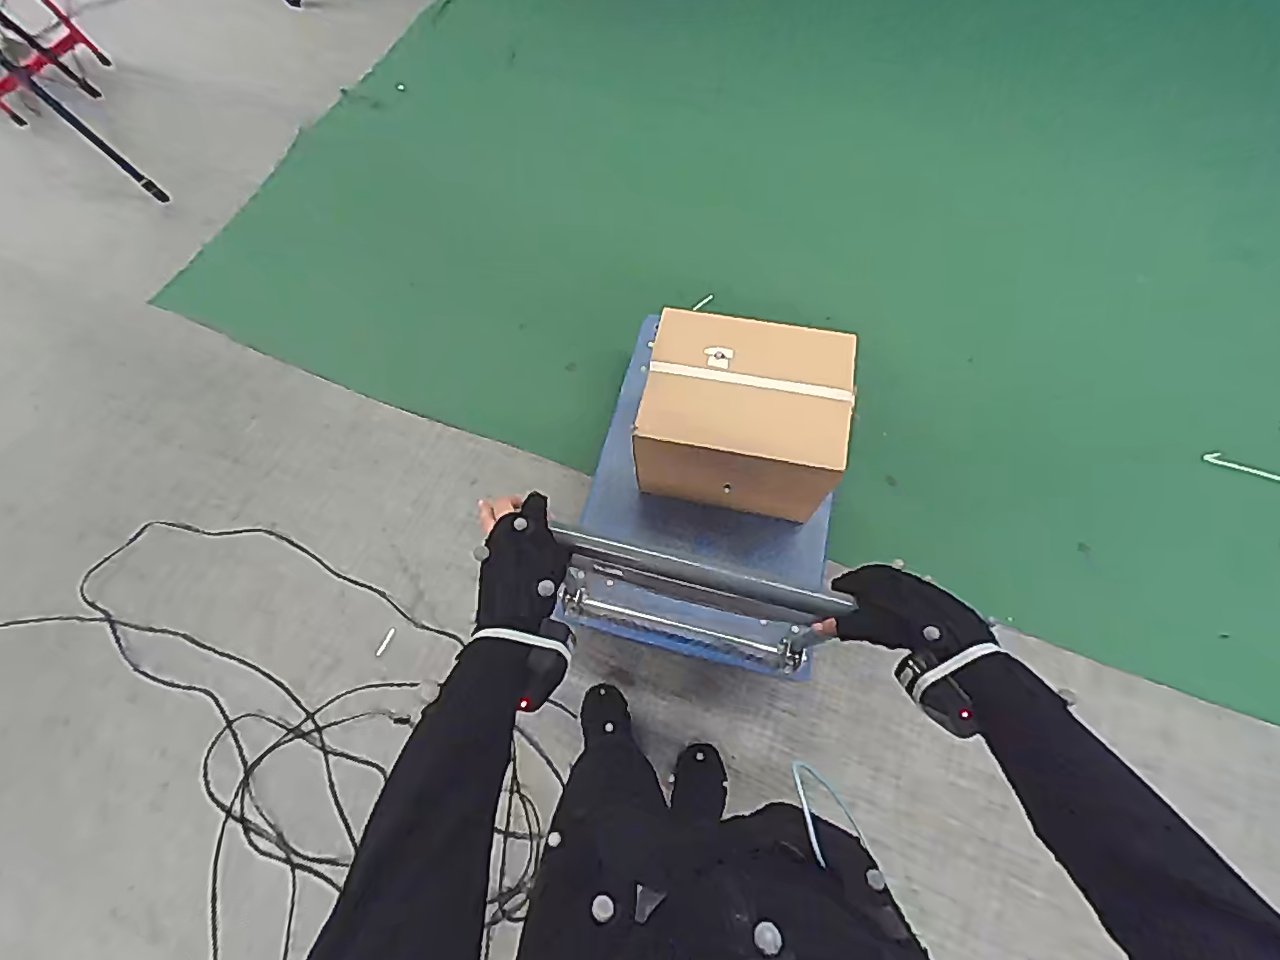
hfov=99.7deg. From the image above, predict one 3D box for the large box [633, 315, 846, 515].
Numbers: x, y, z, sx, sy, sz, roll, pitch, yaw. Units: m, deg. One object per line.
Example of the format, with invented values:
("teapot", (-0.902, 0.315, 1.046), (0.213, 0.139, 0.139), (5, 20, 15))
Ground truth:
("large box", (0.217, -0.134, 1.227), (0.408, 0.320, 0.320), (10, 68, 7))
